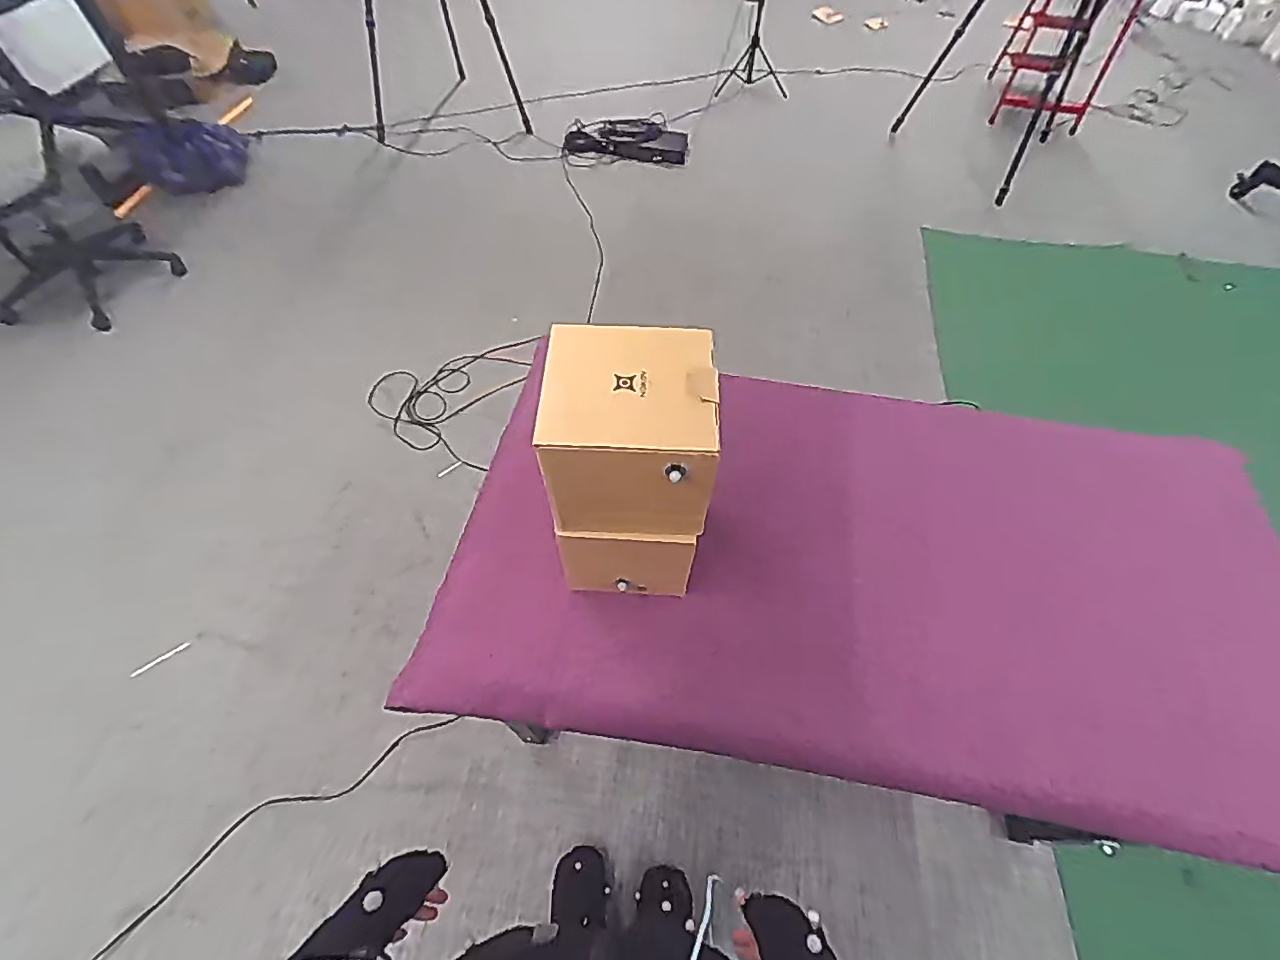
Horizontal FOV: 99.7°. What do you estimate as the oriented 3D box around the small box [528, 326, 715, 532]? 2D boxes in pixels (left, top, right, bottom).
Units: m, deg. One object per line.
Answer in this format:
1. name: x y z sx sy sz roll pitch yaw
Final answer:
1. small box: -0.015 -0.052 0.607 0.179 0.176 0.168 2 57 0
